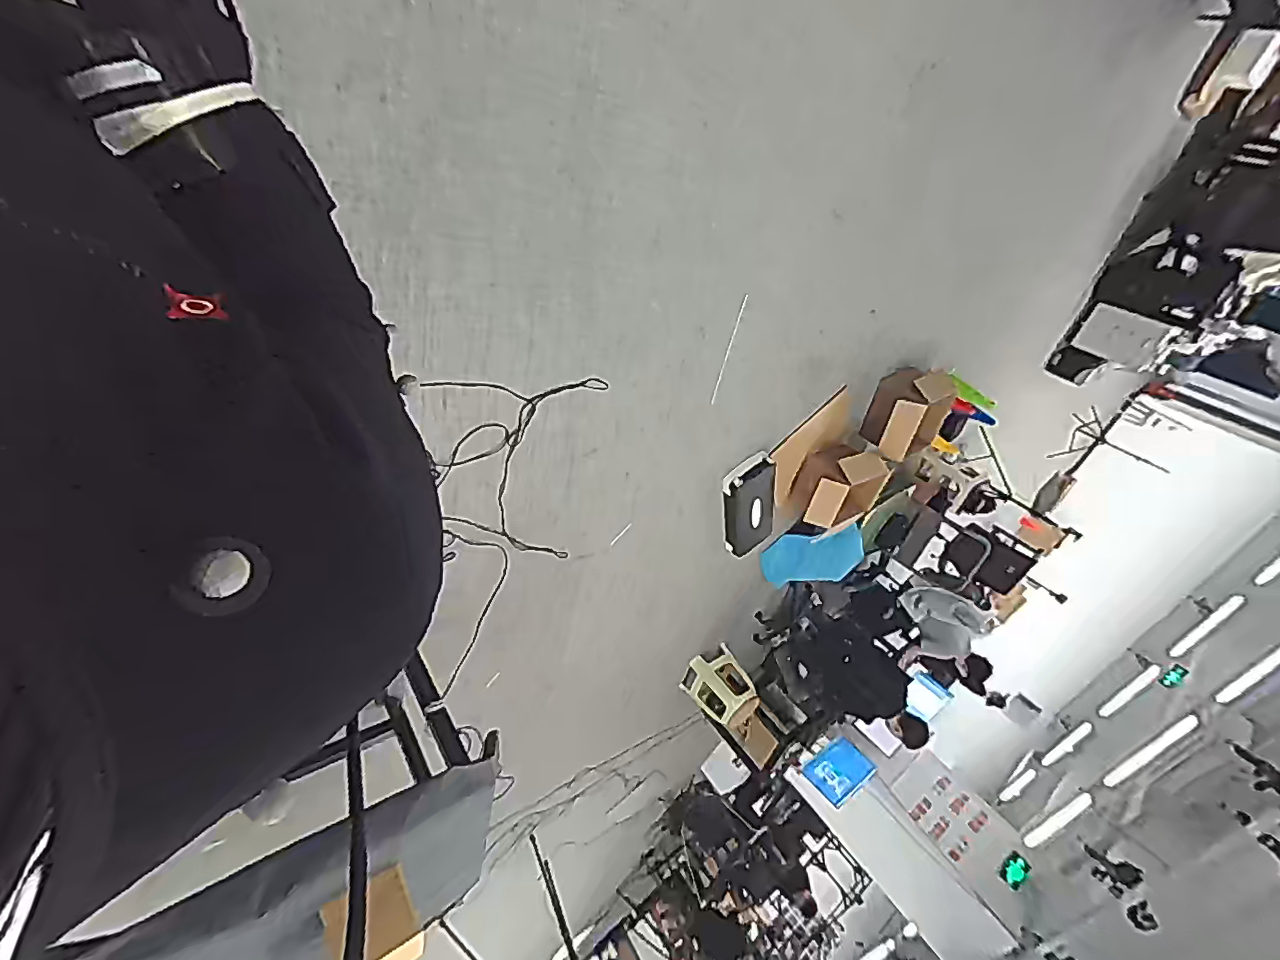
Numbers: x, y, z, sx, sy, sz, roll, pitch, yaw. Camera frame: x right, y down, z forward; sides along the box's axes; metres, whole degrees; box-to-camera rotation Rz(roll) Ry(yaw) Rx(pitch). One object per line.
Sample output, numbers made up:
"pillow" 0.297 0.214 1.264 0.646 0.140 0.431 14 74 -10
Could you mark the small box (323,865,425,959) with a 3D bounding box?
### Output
"small box" -0.622 1.056 1.266 0.179 0.176 0.168 -13 133 -36
